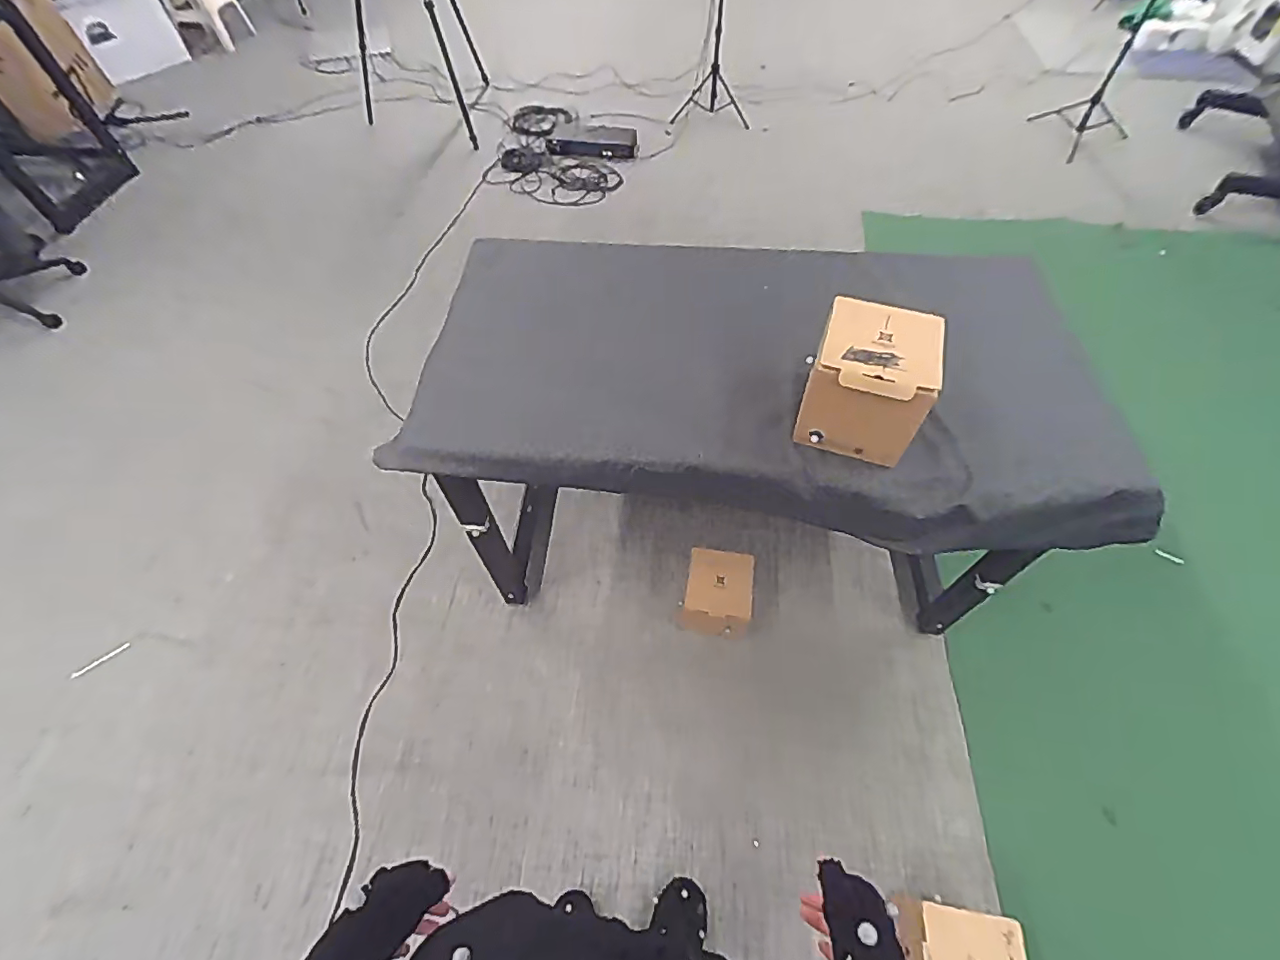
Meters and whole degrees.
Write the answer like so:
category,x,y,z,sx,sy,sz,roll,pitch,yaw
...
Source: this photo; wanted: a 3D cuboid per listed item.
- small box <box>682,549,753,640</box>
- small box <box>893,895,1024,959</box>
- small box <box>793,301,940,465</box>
category,x,y,z,sx,sy,sz,roll,pitch,yaw
small box,0.203,0.307,1.434,0.168,0.176,0.179,7,54,5
small box,0.591,0.901,1.017,0.179,0.176,0.168,7,56,7
small box,0.352,-0.151,0.861,0.168,0.176,0.179,17,56,12
